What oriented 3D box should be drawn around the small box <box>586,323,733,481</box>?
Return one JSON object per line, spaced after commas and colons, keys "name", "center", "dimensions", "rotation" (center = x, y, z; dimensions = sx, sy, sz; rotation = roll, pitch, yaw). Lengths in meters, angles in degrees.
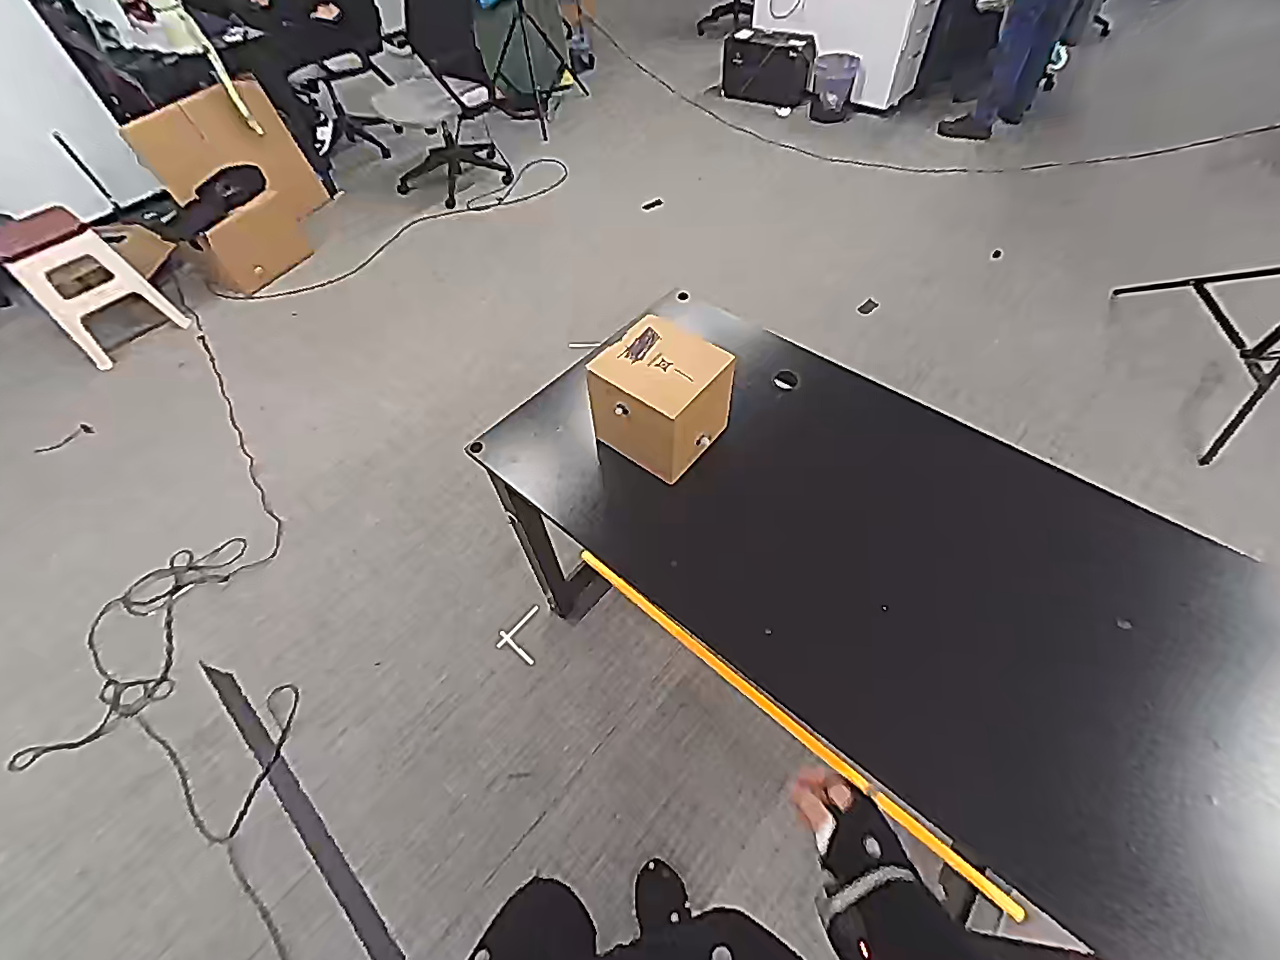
{"name": "small box", "center": [0.033, -0.128, 0.913], "dimensions": [0.179, 0.176, 0.168], "rotation": [33, 62, 23]}
